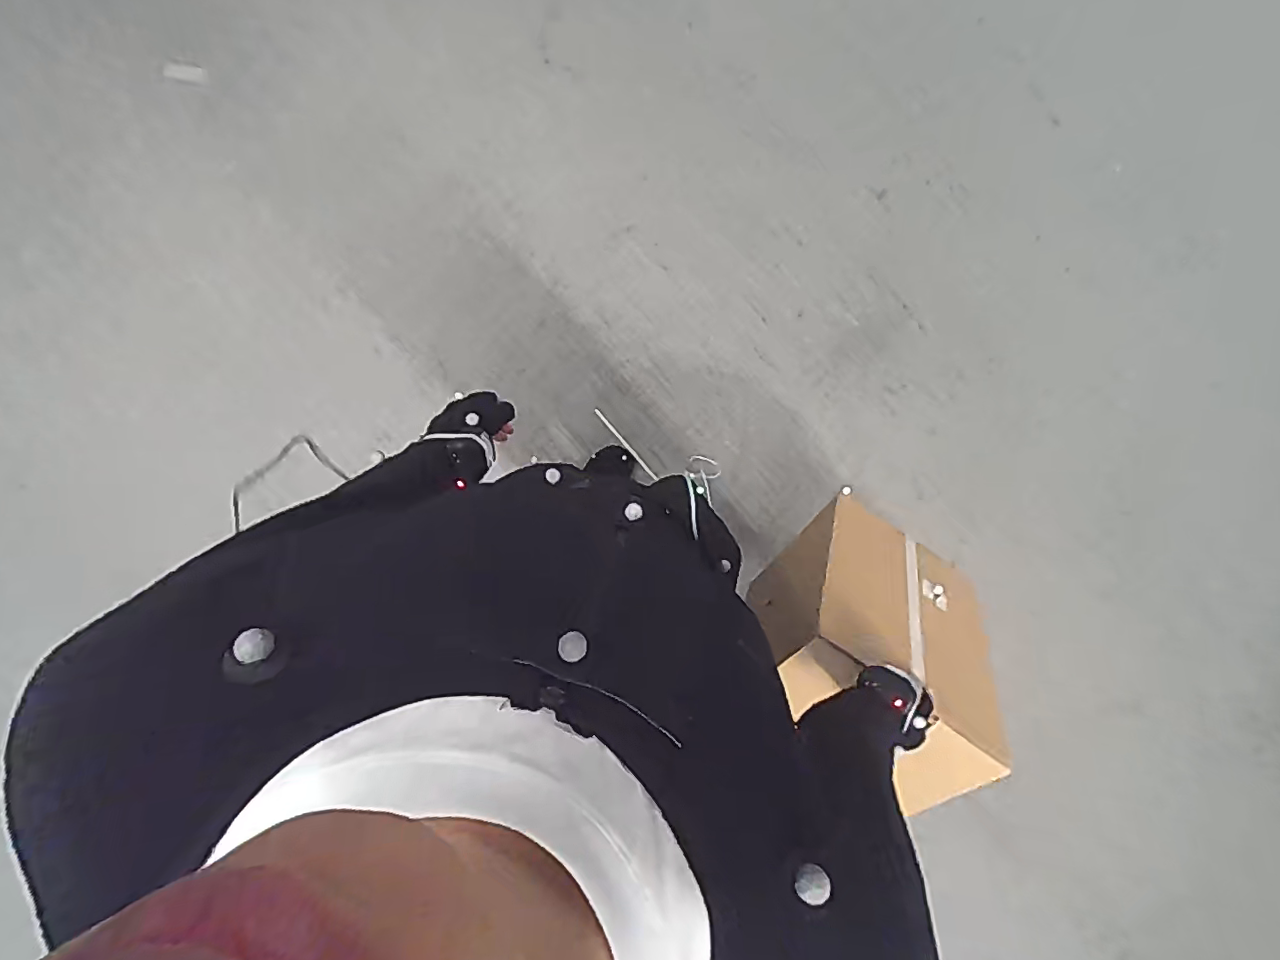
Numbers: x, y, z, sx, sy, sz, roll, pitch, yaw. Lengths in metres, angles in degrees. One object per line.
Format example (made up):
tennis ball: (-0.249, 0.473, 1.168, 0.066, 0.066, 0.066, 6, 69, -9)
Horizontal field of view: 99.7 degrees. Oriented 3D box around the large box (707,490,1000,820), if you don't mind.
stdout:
large box: (0.364, 0.296, 0.978, 0.320, 0.408, 0.320, 35, 125, 2)
